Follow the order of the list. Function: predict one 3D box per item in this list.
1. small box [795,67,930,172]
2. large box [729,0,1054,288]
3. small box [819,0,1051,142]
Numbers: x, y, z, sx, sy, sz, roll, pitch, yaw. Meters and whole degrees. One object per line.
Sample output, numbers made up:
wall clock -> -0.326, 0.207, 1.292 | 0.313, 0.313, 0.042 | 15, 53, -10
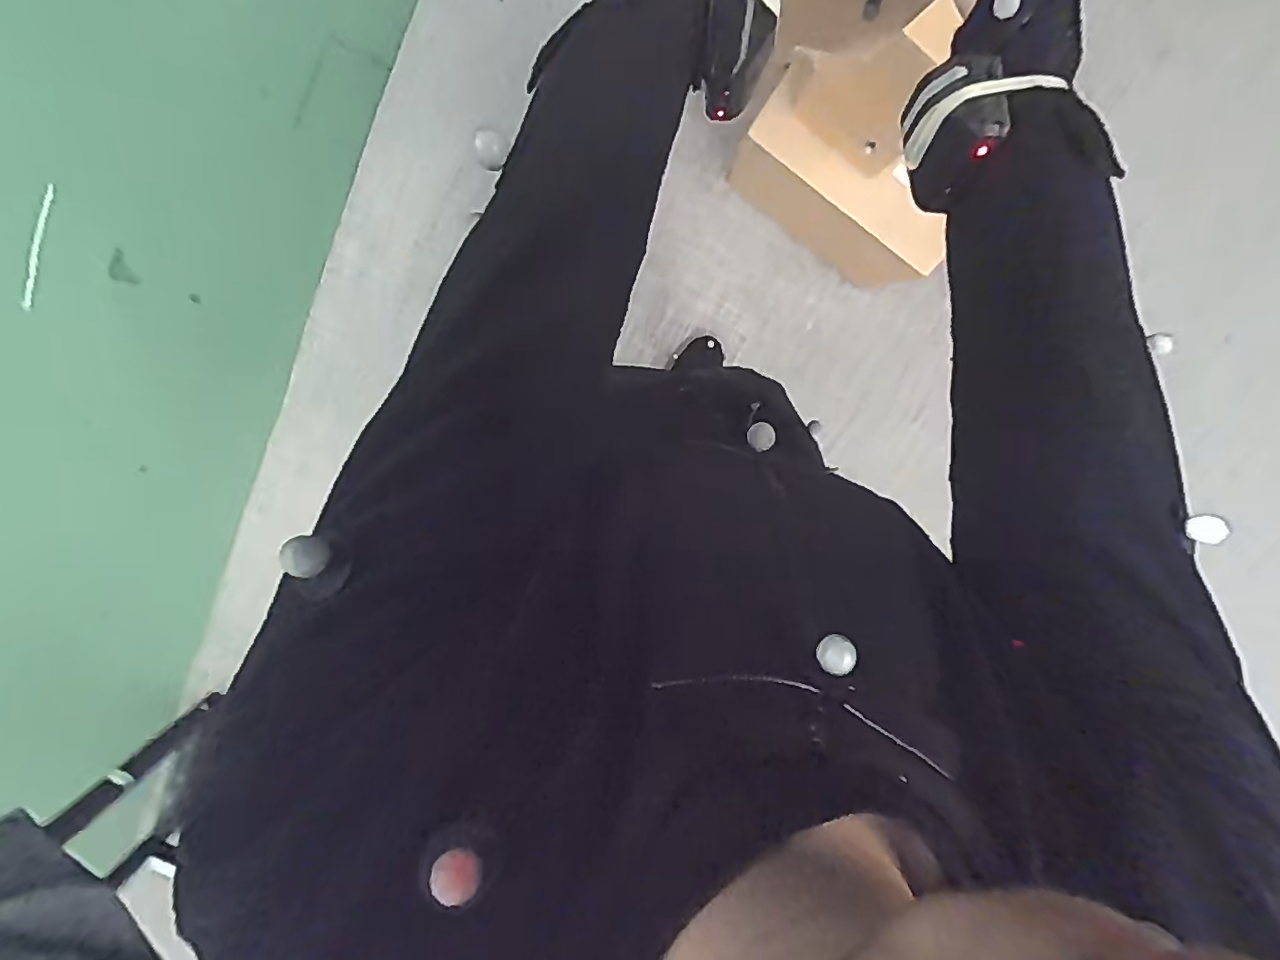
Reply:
small box -> 0.361, -0.592, 0.800 | 0.179, 0.176, 0.168 | 34, 102, -6
large box -> 0.435, -0.625, 1.039 | 0.408, 0.320, 0.320 | 34, 105, -7
small box -> 0.346, -0.549, 0.643 | 0.179, 0.176, 0.168 | 36, 102, -8
